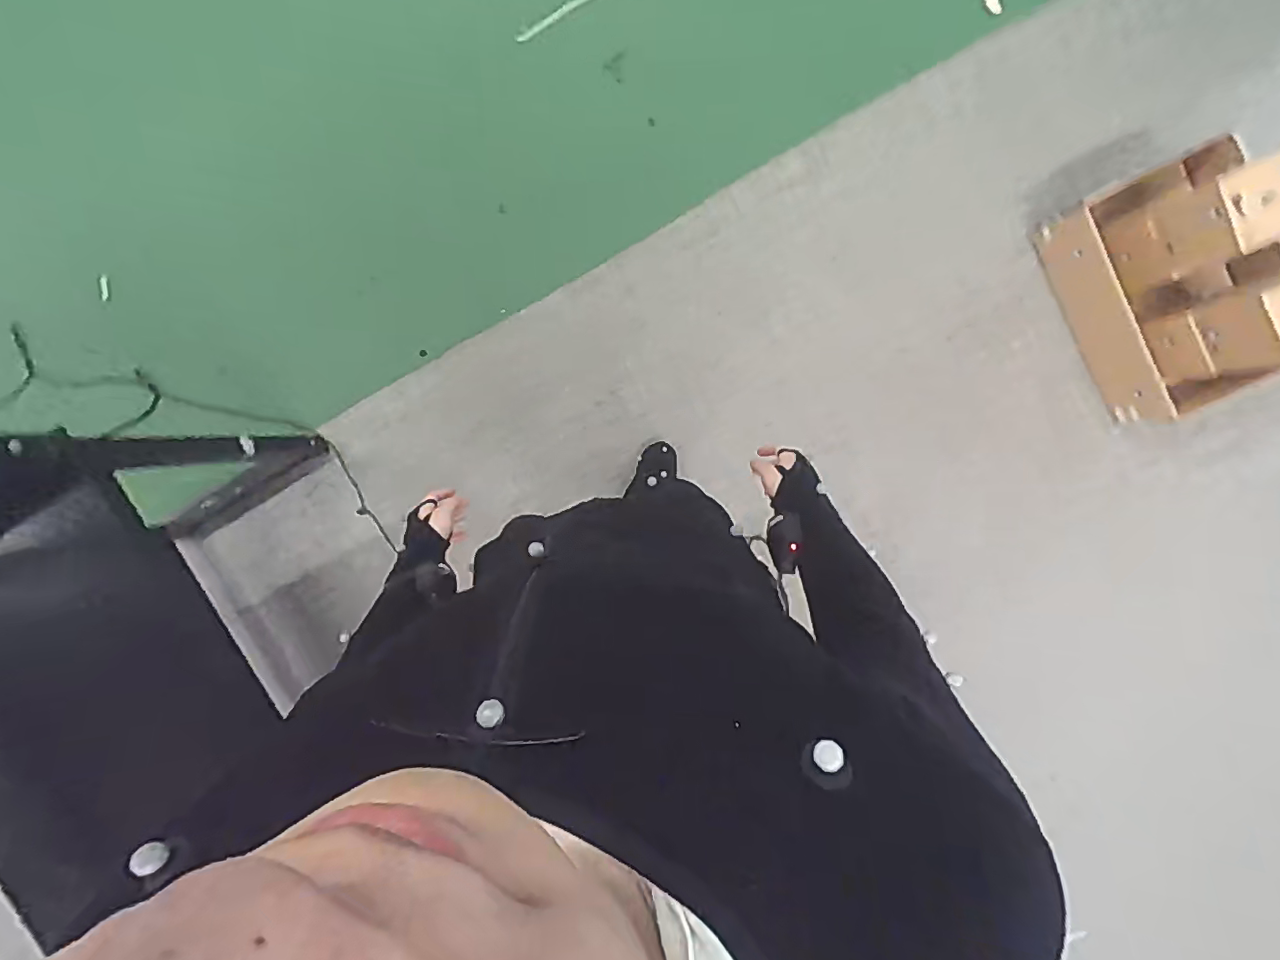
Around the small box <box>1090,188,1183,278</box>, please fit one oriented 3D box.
[{"bbox_3d":[1.318,-0.649,1.395,0.179,0.176,0.168,-29,95,5],"label":"small box"}]

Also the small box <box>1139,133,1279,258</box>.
[{"bbox_3d":[1.312,-0.637,1.230,0.179,0.176,0.168,-24,94,3],"label":"small box"}]

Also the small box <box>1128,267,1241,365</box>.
[{"bbox_3d":[1.441,-0.418,1.415,0.179,0.176,0.168,-29,94,5],"label":"small box"}]

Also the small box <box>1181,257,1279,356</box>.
[{"bbox_3d":[1.437,-0.407,1.252,0.179,0.176,0.168,-26,92,5],"label":"small box"}]
